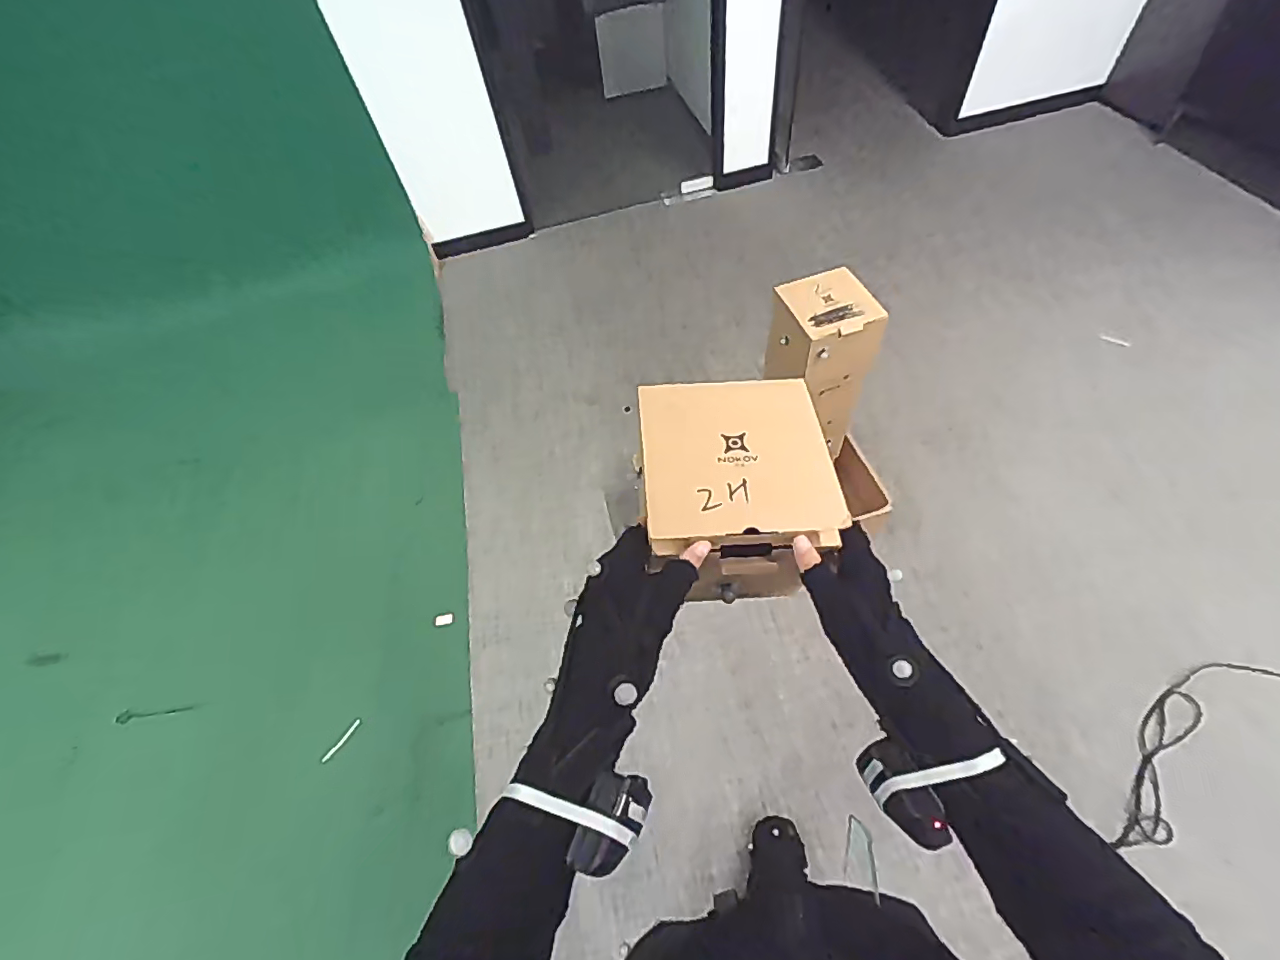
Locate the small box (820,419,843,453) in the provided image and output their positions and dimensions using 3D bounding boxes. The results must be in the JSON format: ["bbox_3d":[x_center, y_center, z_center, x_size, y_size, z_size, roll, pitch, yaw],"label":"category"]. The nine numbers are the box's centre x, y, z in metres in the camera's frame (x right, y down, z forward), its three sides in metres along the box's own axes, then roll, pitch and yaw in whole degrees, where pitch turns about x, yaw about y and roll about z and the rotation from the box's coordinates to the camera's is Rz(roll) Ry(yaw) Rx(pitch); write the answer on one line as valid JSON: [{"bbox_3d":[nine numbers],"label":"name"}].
[{"bbox_3d":[0.421,-0.164,1.427,0.168,0.176,0.179,-16,56,-2],"label":"small box"}]

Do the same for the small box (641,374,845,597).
[{"bbox_3d":[0.087,0.012,0.560,0.168,0.176,0.179,-3,64,-1],"label":"small box"}]

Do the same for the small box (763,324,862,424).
[{"bbox_3d":[0.404,-0.238,1.301,0.168,0.176,0.179,-15,56,-3],"label":"small box"}]
